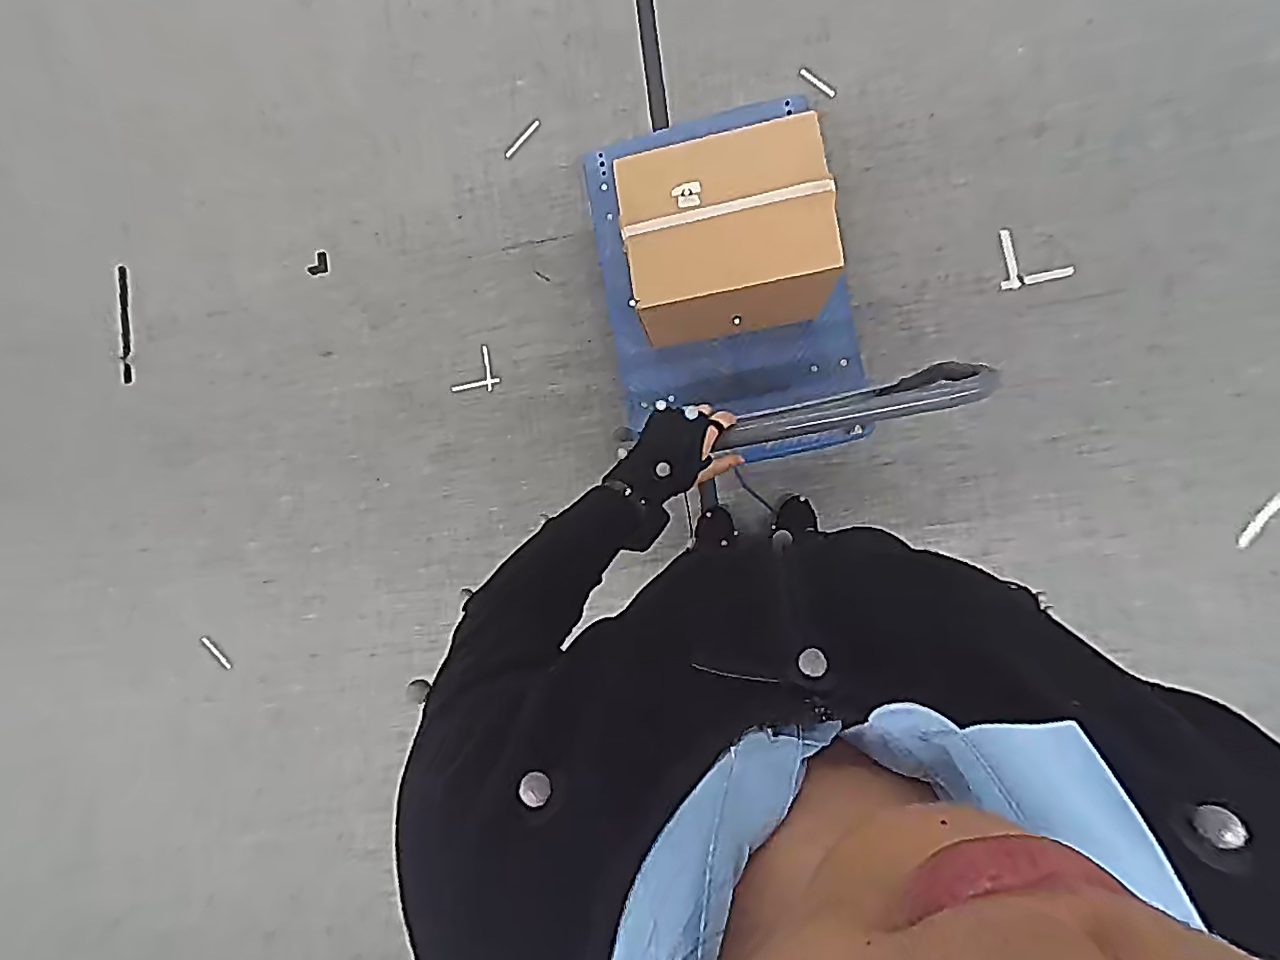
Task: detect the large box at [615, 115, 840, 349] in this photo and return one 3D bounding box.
[{"bbox_3d":[0.190,-0.517,1.211,0.408,0.320,0.320,-10,85,9],"label":"large box"}]
